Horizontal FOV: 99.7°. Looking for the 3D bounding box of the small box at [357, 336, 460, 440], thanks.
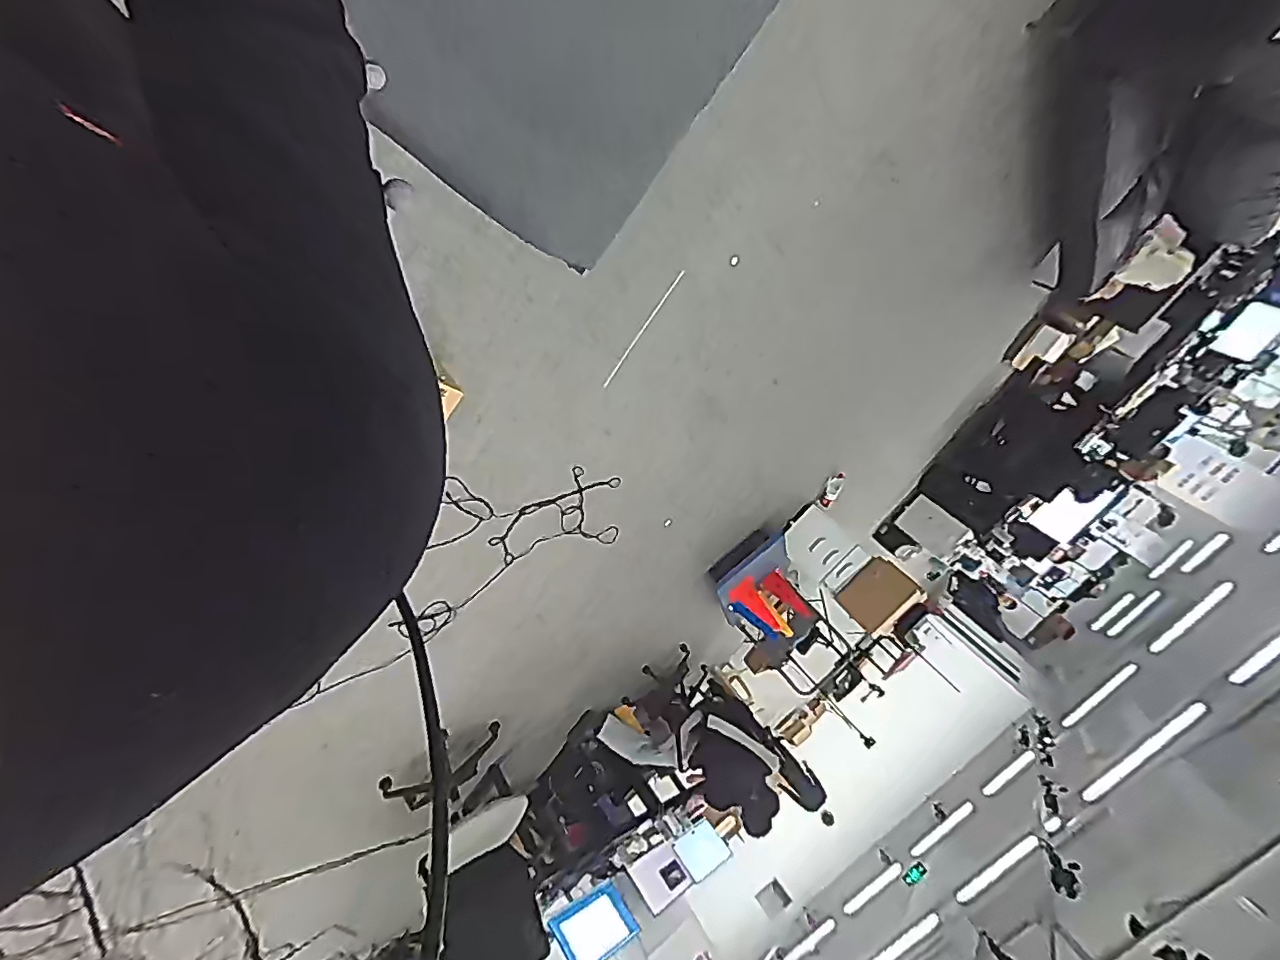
[{"bbox_3d":[-0.608,-0.238,1.404,0.179,0.176,0.168,-49,146,12],"label":"small box"}]
